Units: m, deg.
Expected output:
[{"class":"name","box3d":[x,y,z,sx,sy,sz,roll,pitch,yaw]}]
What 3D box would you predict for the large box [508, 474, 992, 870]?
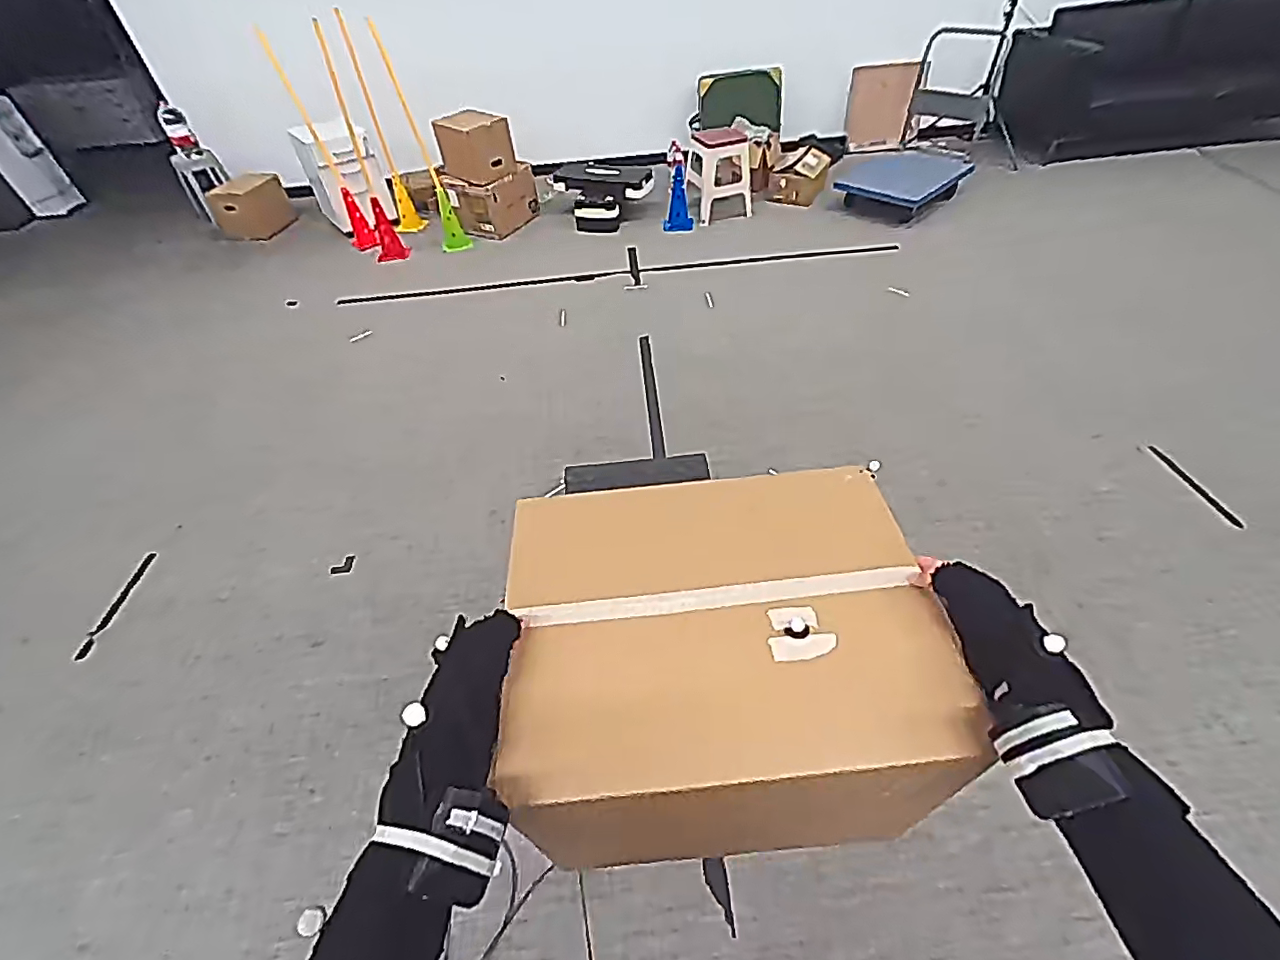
[{"class":"large box","box3d":[0.085,0.227,0.640,0.408,0.320,0.320,-6,46,0]}]
